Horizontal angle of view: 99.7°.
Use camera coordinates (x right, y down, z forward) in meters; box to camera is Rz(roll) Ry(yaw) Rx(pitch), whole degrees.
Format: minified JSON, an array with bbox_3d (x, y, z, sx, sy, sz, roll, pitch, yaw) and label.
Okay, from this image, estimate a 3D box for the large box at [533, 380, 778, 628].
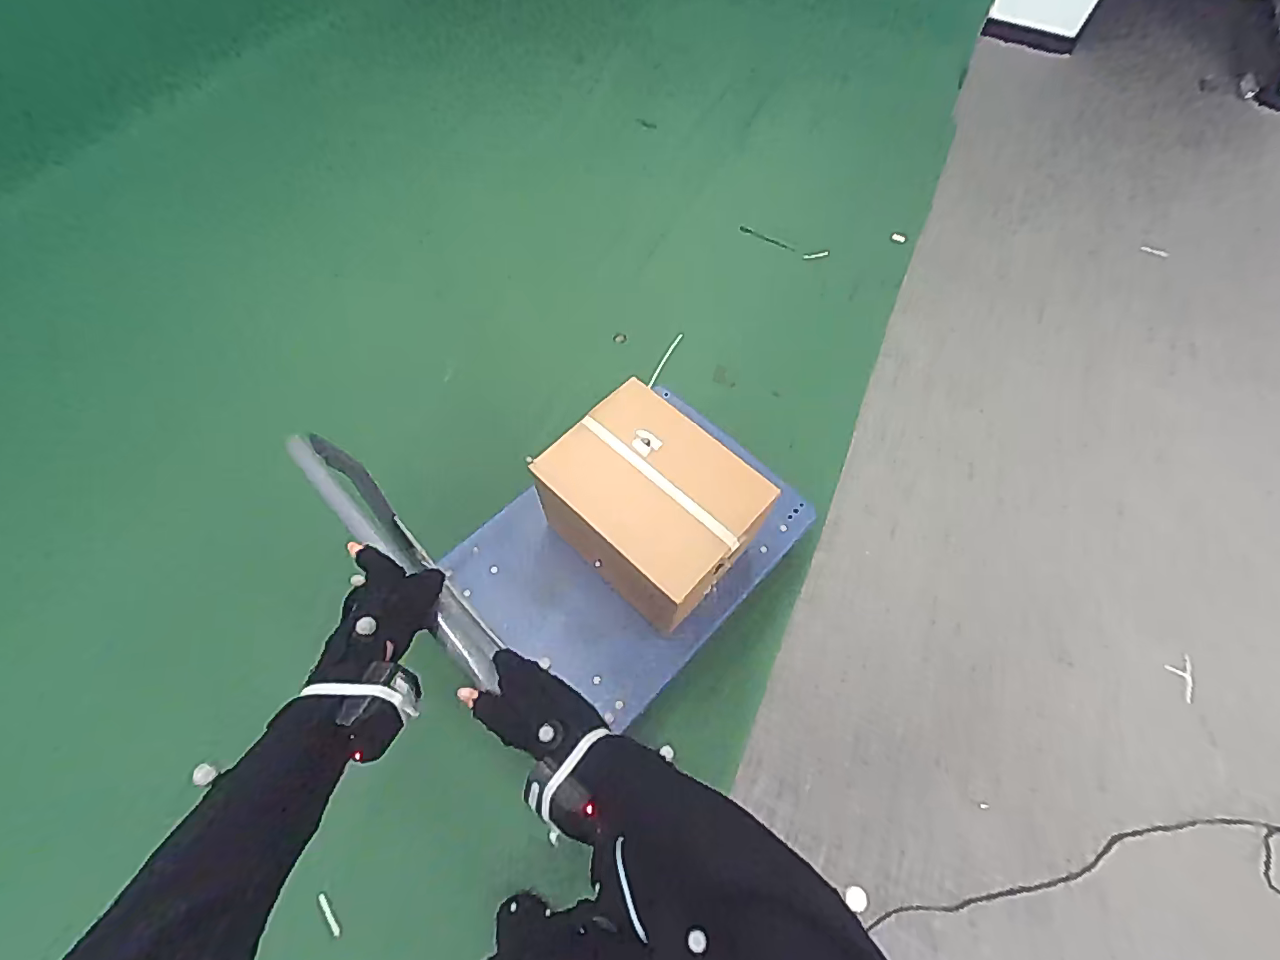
[{"bbox_3d":[0.030,0.063,1.211,0.408,0.320,0.320,40,69,17],"label":"large box"}]
